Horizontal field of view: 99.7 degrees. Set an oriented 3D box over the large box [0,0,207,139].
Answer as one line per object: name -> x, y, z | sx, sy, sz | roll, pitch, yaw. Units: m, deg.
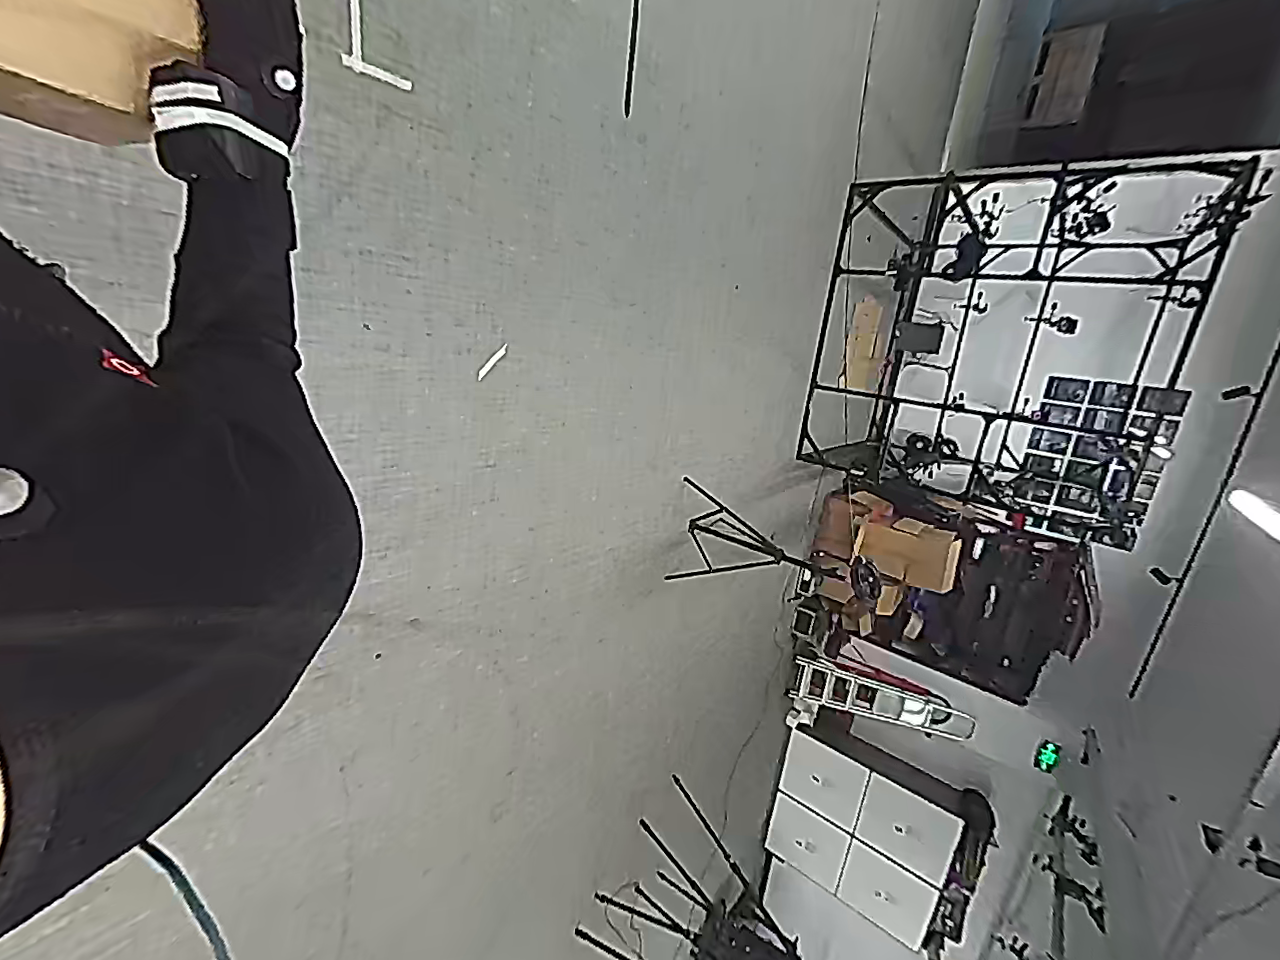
large box -> -0.534, -0.438, 0.295 | 0.408, 0.320, 0.320 | -7, 115, -54
